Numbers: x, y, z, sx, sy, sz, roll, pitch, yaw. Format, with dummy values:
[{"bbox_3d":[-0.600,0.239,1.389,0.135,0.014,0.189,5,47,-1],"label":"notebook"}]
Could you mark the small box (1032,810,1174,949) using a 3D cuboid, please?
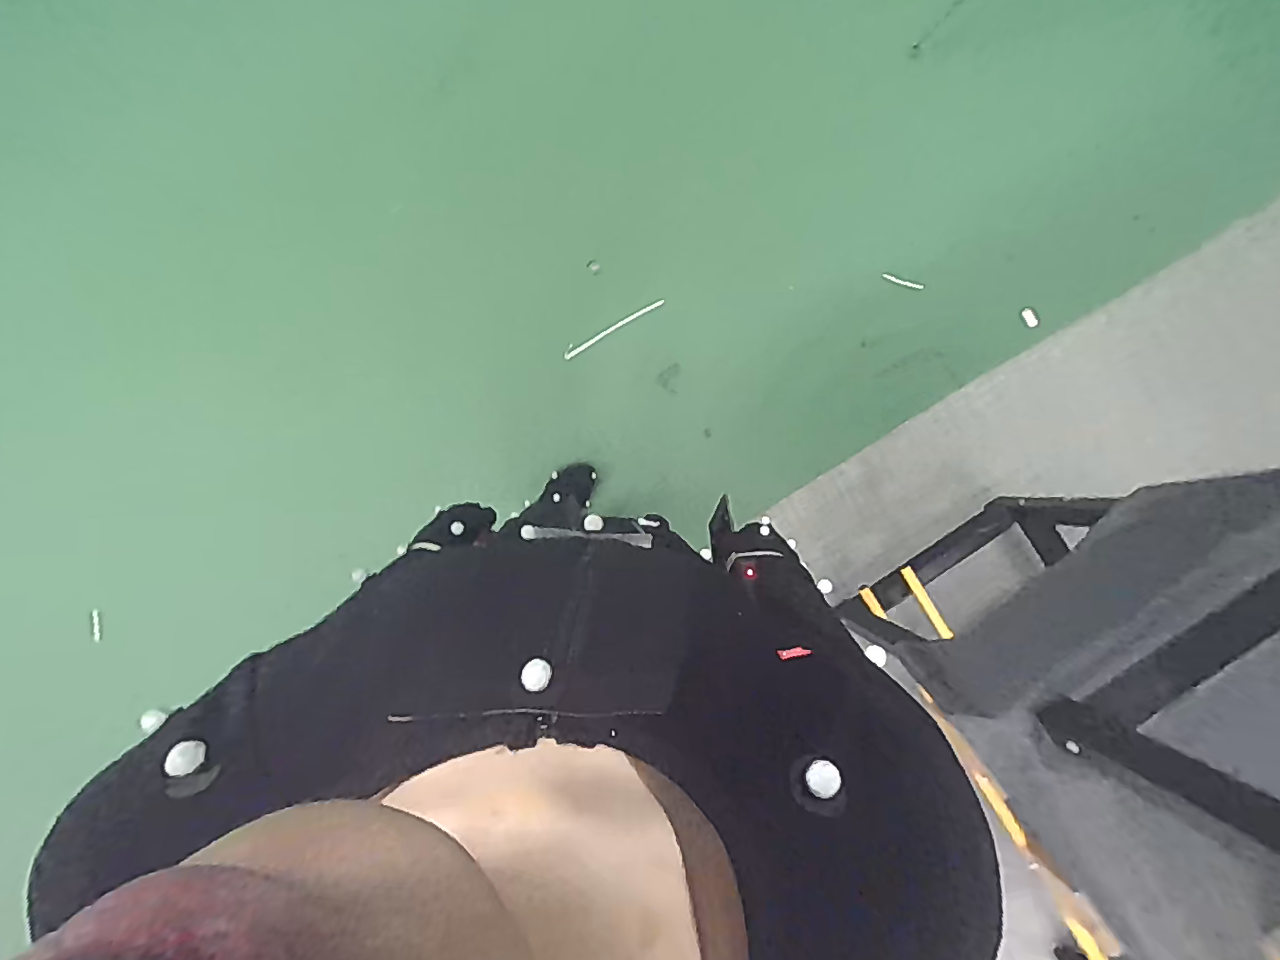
[{"bbox_3d":[1.093,0.948,1.299,0.179,0.176,0.168,-30,89,-1],"label":"small box"}]
